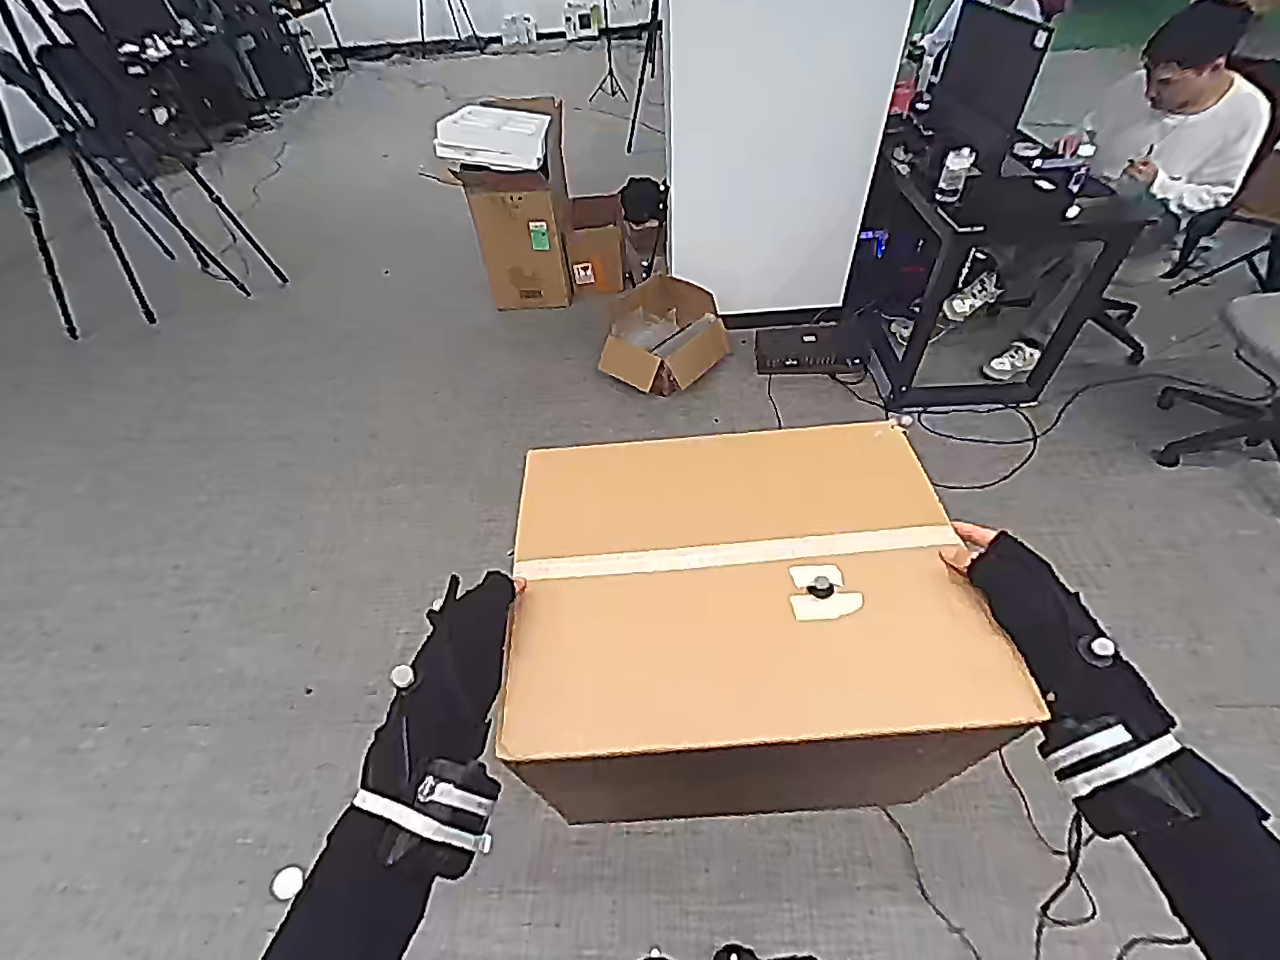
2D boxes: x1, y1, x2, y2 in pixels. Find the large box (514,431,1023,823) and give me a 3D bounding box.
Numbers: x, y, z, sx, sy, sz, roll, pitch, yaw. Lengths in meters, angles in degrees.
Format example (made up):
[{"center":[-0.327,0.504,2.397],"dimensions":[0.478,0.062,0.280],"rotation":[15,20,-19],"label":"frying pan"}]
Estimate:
[{"center":[0.097,0.174,0.622],"dimensions":[0.408,0.320,0.320],"rotation":[-5,50,1],"label":"large box"}]
